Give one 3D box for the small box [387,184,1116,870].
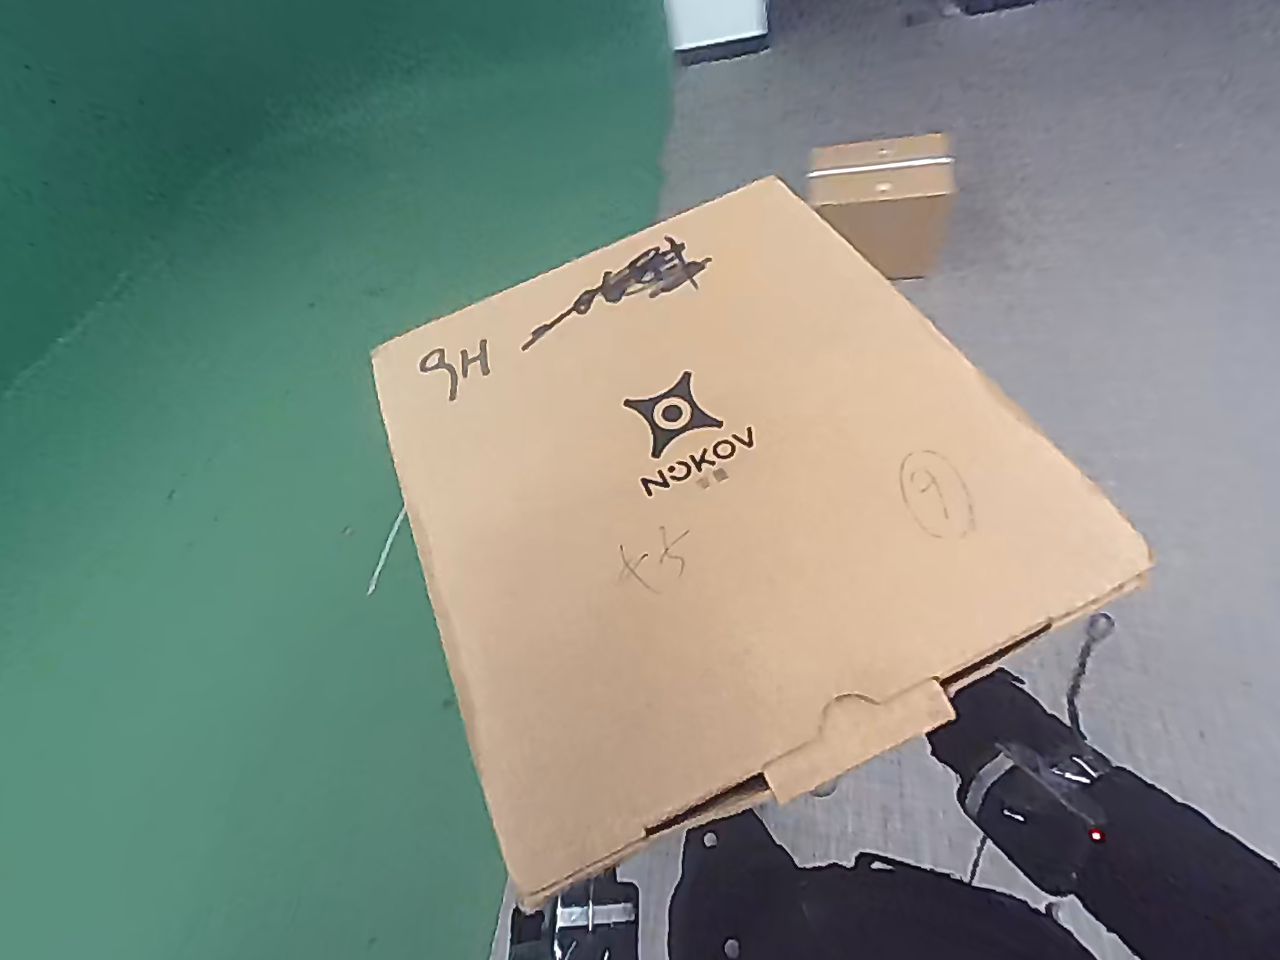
[{"bbox_3d":[0.024,0.023,0.237,0.168,0.176,0.179,-24,63,-3],"label":"small box"}]
